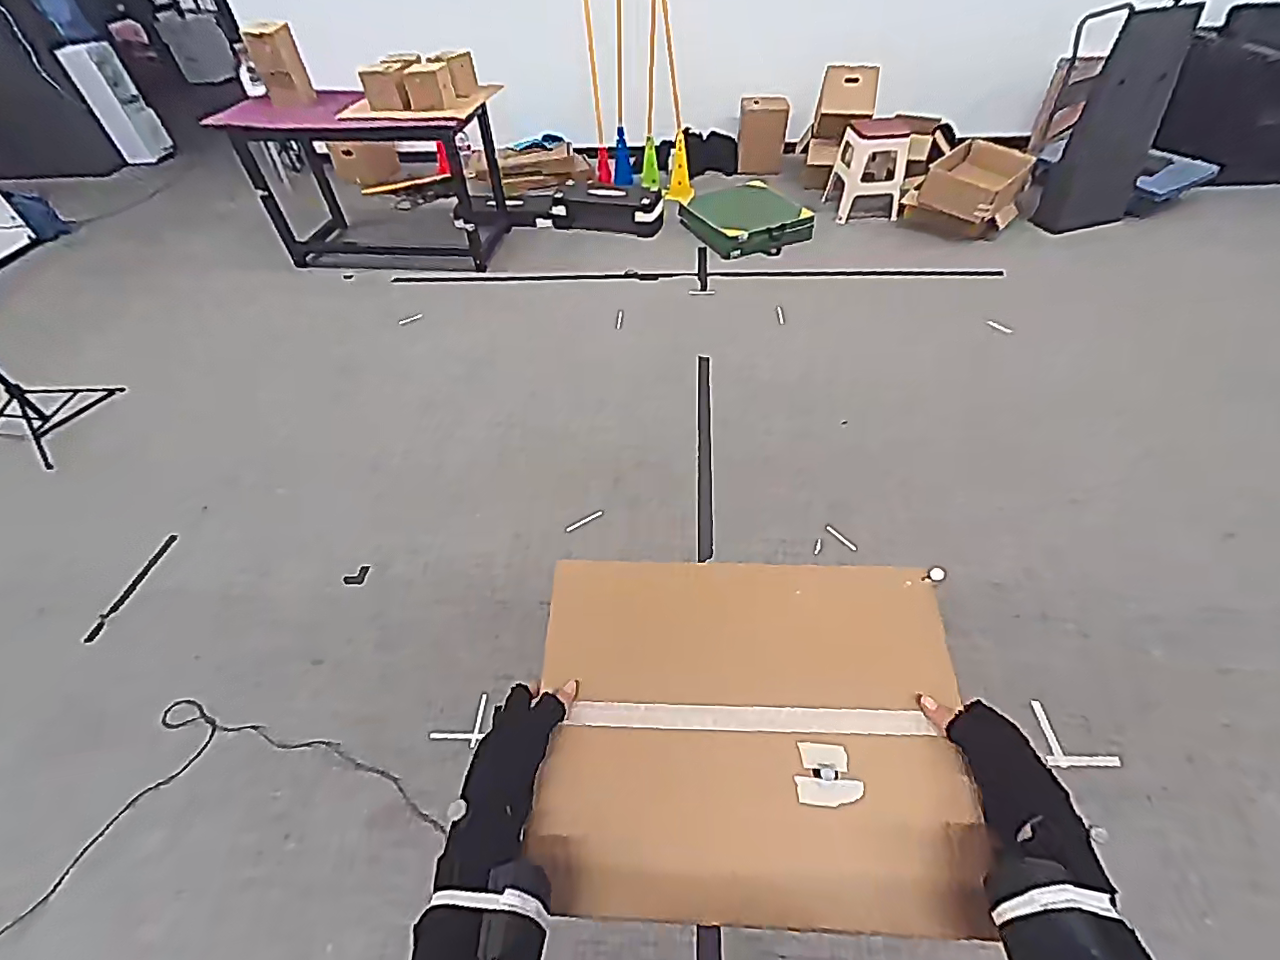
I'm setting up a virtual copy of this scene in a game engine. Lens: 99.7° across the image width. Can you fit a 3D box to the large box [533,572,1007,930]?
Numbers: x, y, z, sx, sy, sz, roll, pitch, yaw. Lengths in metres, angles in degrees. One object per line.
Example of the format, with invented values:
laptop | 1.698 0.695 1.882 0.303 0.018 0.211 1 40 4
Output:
large box | 0.112 0.312 0.653 0.408 0.320 0.320 0 60 3
